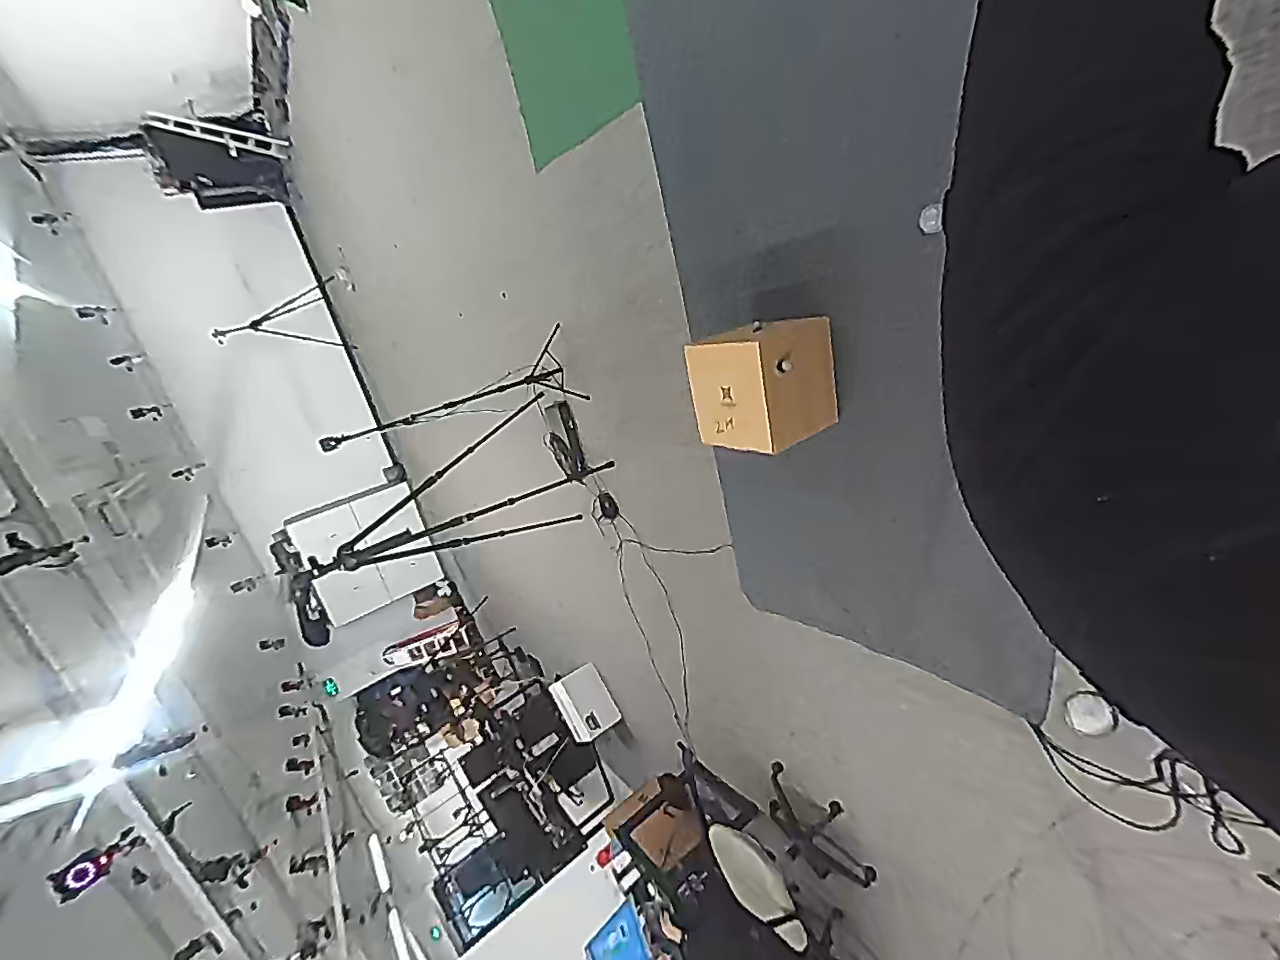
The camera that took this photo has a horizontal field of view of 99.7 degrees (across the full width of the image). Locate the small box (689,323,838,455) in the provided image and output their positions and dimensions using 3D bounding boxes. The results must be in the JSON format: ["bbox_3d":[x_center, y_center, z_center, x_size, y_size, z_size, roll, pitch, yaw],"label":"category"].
[{"bbox_3d":[0.209,-0.160,0.905,0.168,0.176,0.179,16,124,53],"label":"small box"}]
